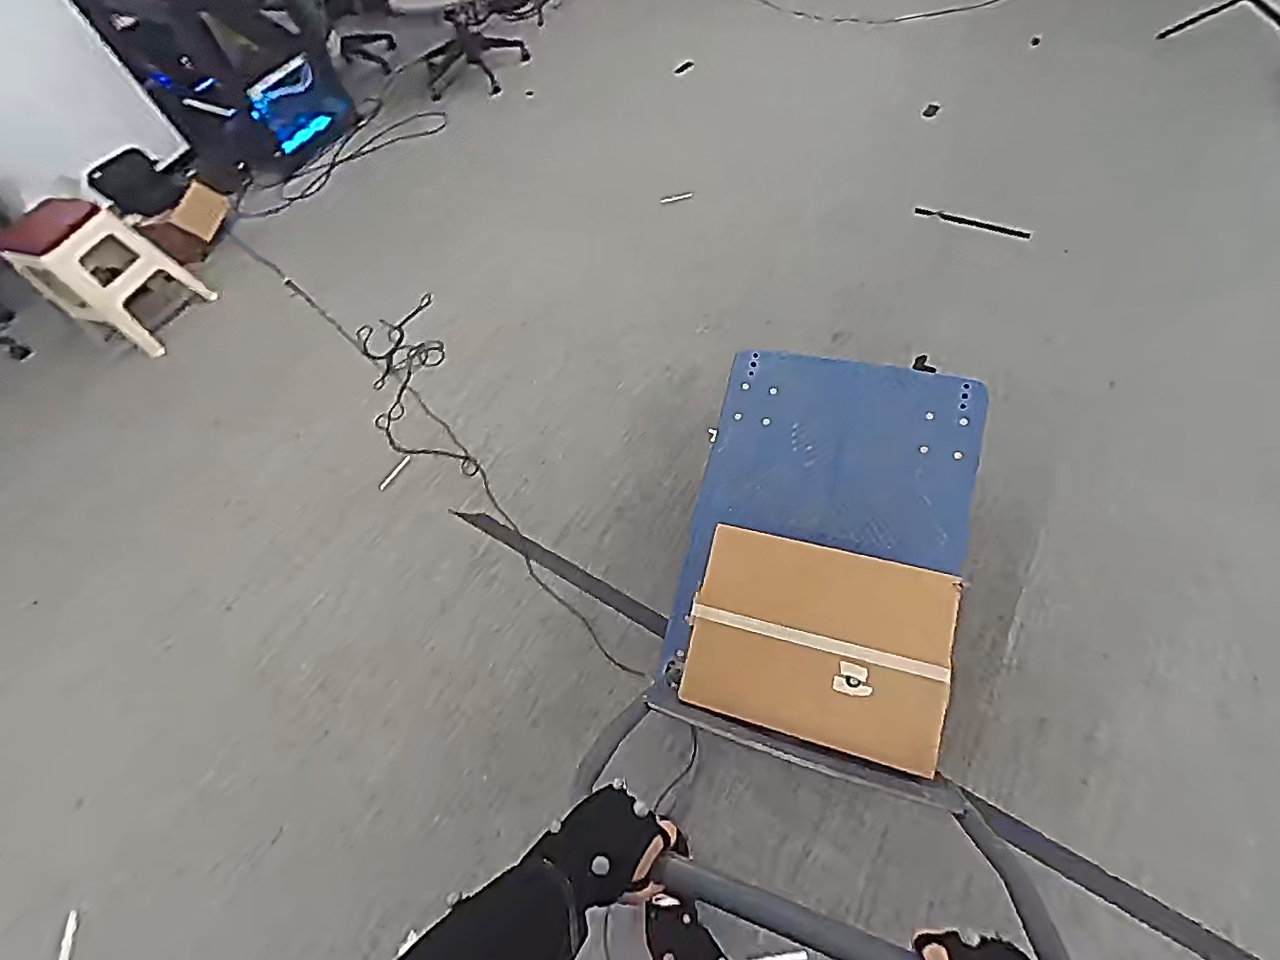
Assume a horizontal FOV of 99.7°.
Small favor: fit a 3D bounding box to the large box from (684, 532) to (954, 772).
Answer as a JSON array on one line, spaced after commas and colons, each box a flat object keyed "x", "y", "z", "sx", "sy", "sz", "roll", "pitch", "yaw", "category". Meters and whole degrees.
[{"x": 0.325, "y": 0.307, "z": 1.051, "sx": 0.408, "sy": 0.320, "sz": 0.320, "roll": 11, "pitch": 80, "yaw": 15, "category": "large box"}]
